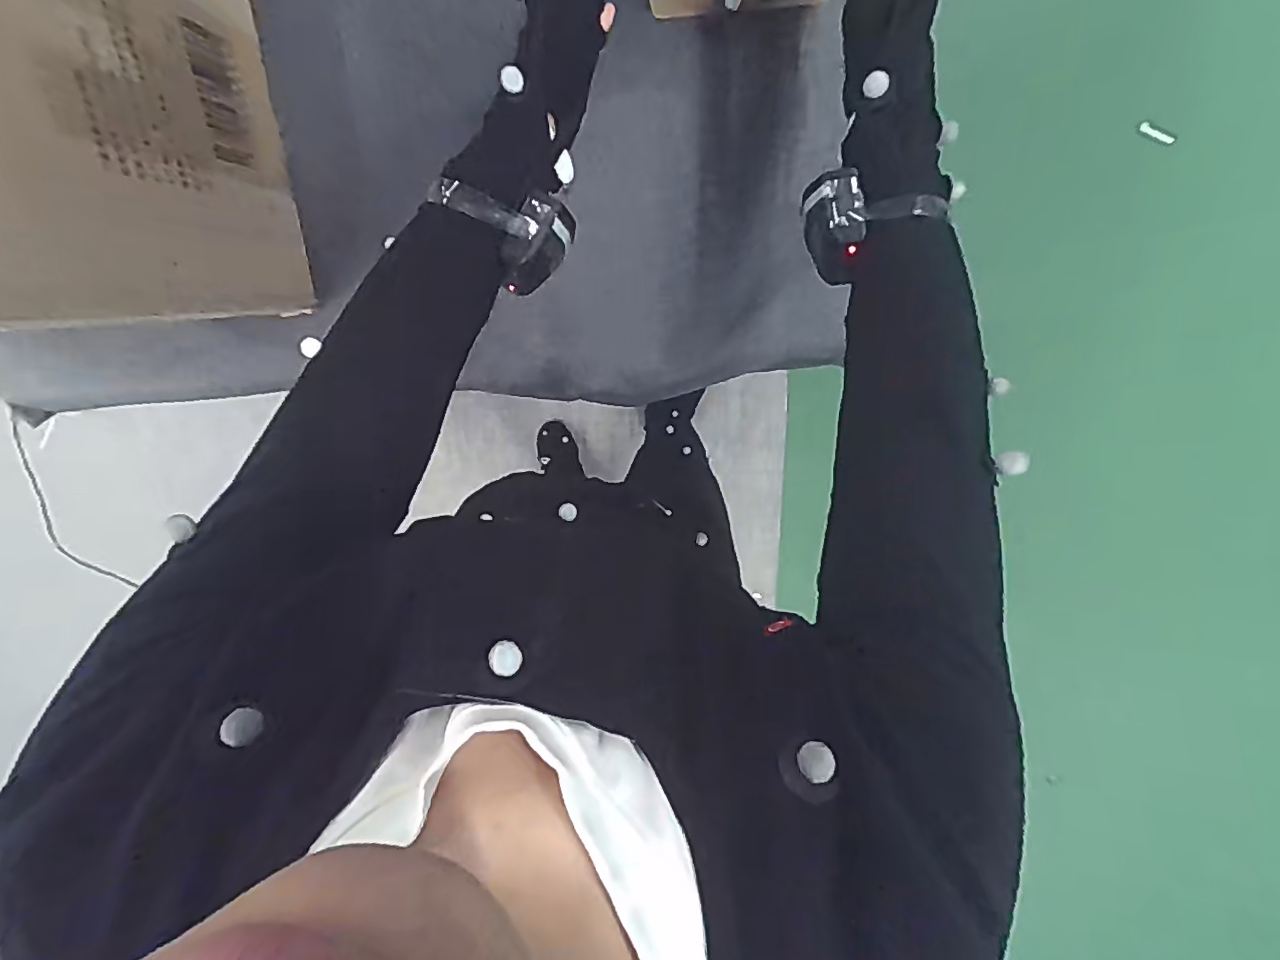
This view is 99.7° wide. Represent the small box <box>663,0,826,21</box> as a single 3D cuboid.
[{"bbox_3d":[0.088,-0.506,0.421,0.168,0.176,0.179,2,111,8],"label":"small box"}]
